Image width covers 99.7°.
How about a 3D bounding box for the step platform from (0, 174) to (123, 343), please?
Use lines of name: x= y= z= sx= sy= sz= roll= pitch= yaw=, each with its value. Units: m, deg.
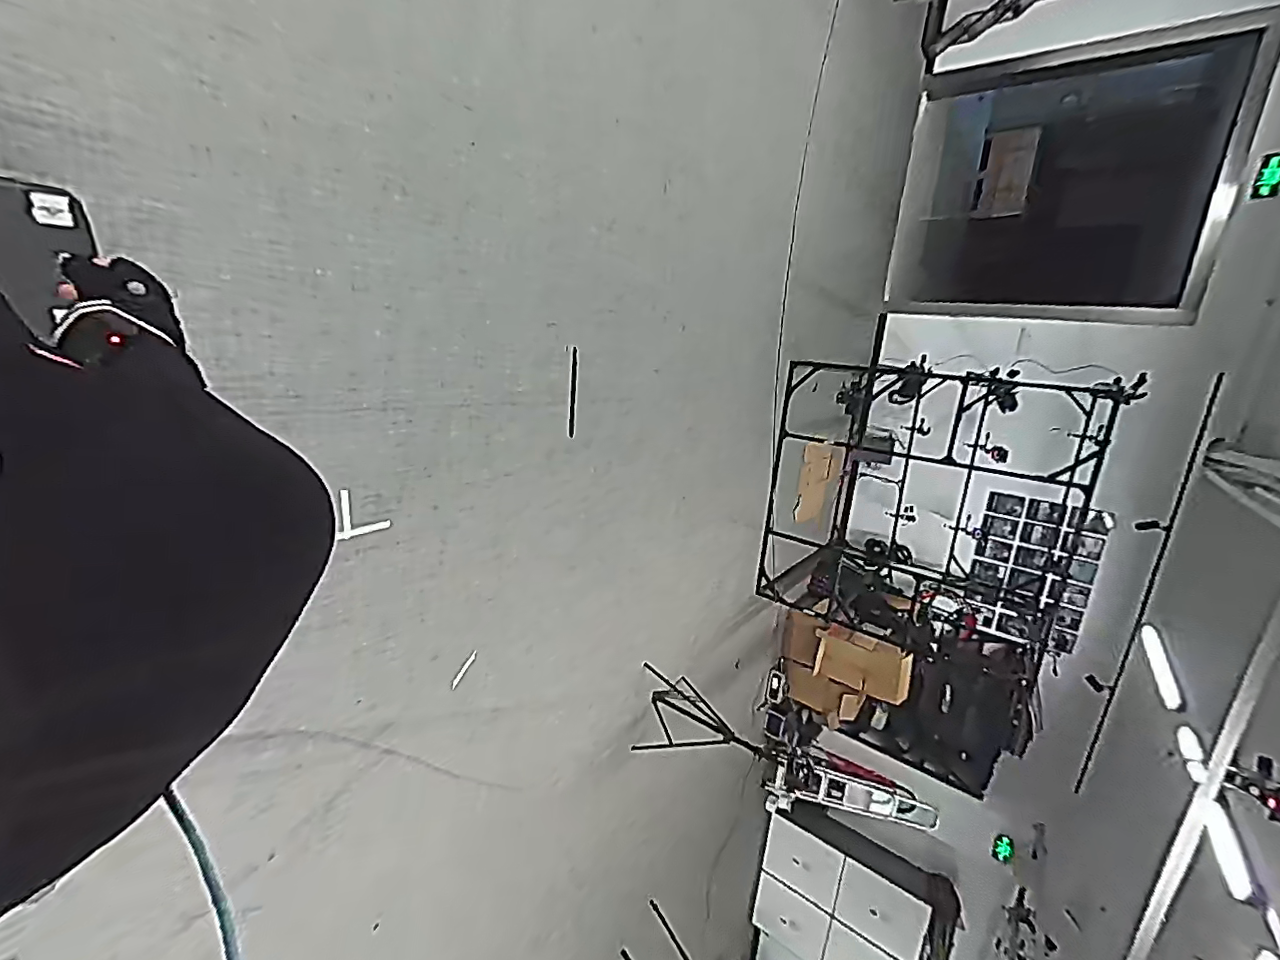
step platform: x=-1.267 y=-0.368 z=0.828 sx=0.684 sy=0.204 sz=0.286 roll=-16 pitch=115 yaw=-53
